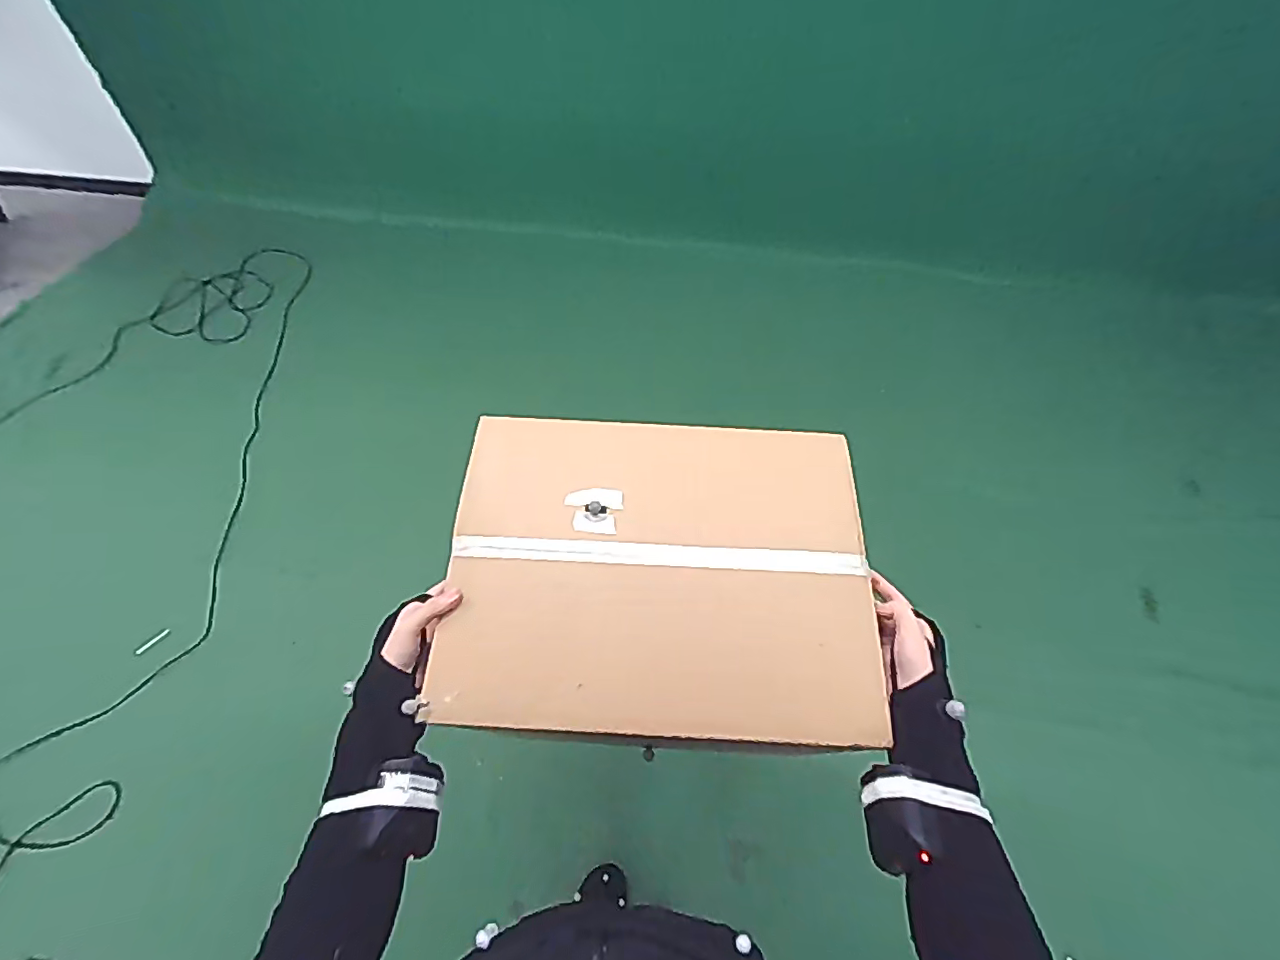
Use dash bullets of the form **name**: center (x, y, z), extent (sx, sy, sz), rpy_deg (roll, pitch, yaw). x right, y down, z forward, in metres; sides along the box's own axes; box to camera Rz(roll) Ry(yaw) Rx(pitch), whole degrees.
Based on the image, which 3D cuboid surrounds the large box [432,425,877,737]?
- **large box**: center (0.019, 0.145, 0.676), extent (0.408, 0.320, 0.320), rpy_deg (2, 62, 1)
